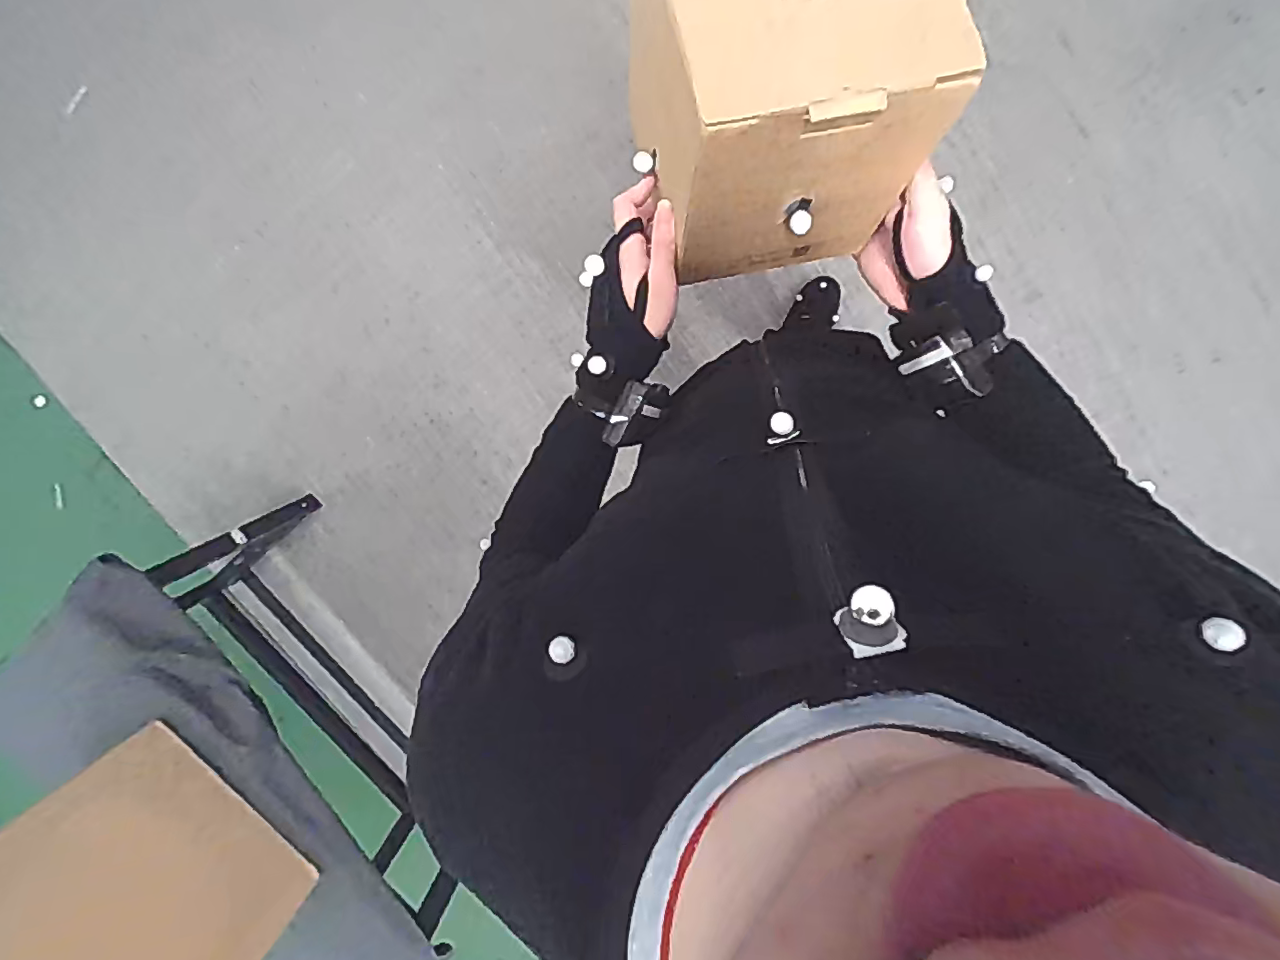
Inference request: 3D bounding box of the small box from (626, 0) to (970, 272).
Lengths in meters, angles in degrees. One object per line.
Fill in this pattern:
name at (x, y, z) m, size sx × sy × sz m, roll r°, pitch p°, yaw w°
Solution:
small box at (0.086, -0.269, 0.385) m, size 0.168 × 0.176 × 0.179 m, roll -11°, pitch 82°, yaw -4°
